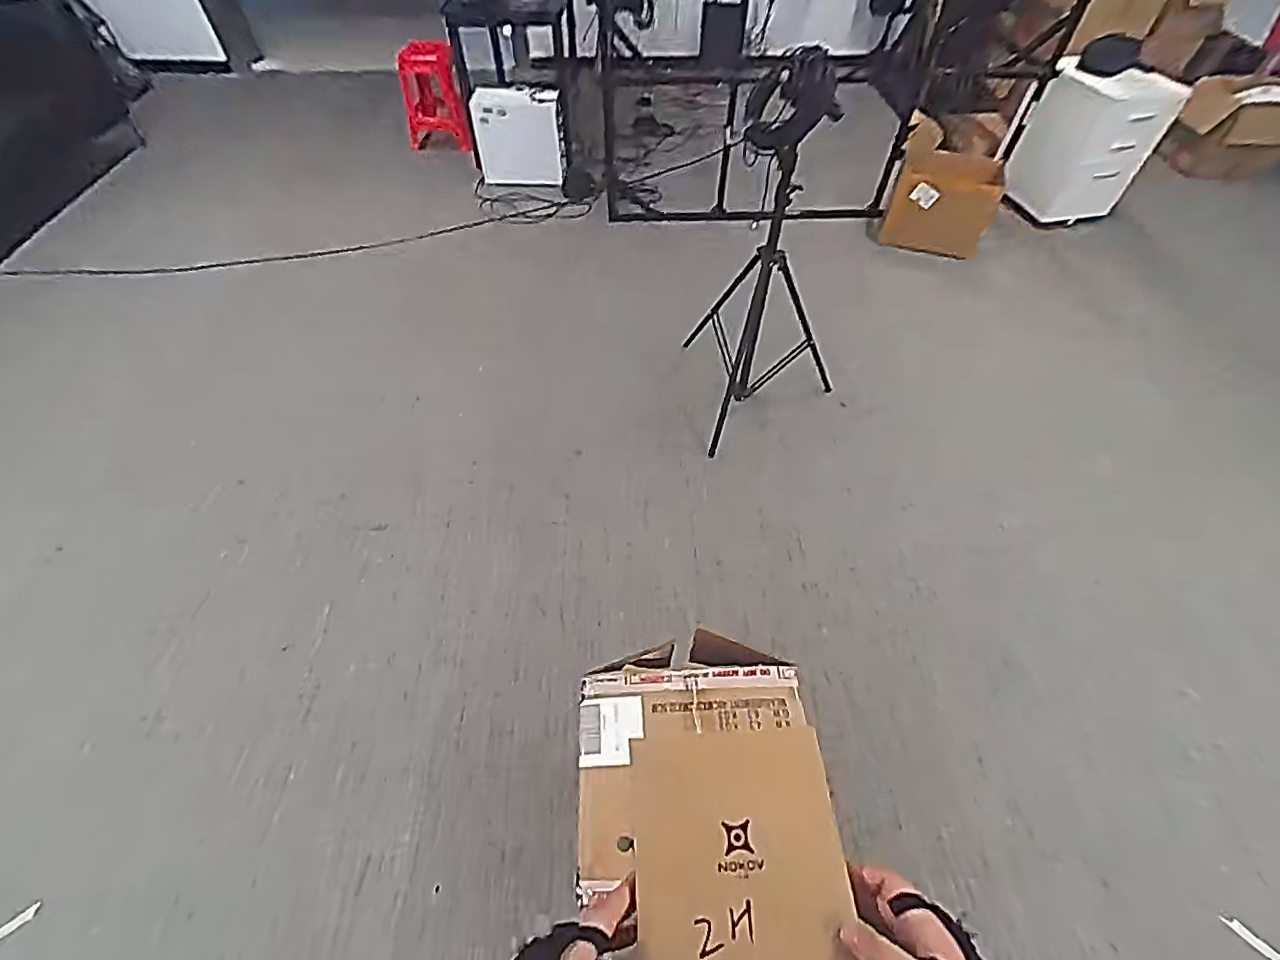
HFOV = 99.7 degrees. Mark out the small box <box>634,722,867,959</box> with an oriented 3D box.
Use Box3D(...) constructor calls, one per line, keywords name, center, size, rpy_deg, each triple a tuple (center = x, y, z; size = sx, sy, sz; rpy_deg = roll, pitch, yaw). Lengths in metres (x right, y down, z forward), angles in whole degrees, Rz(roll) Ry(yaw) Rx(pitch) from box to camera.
Box3D(name="small box", center=(0.081, 0.340, 0.500), size=(0.168, 0.176, 0.179), rpy_deg=(-4, 55, -1))
